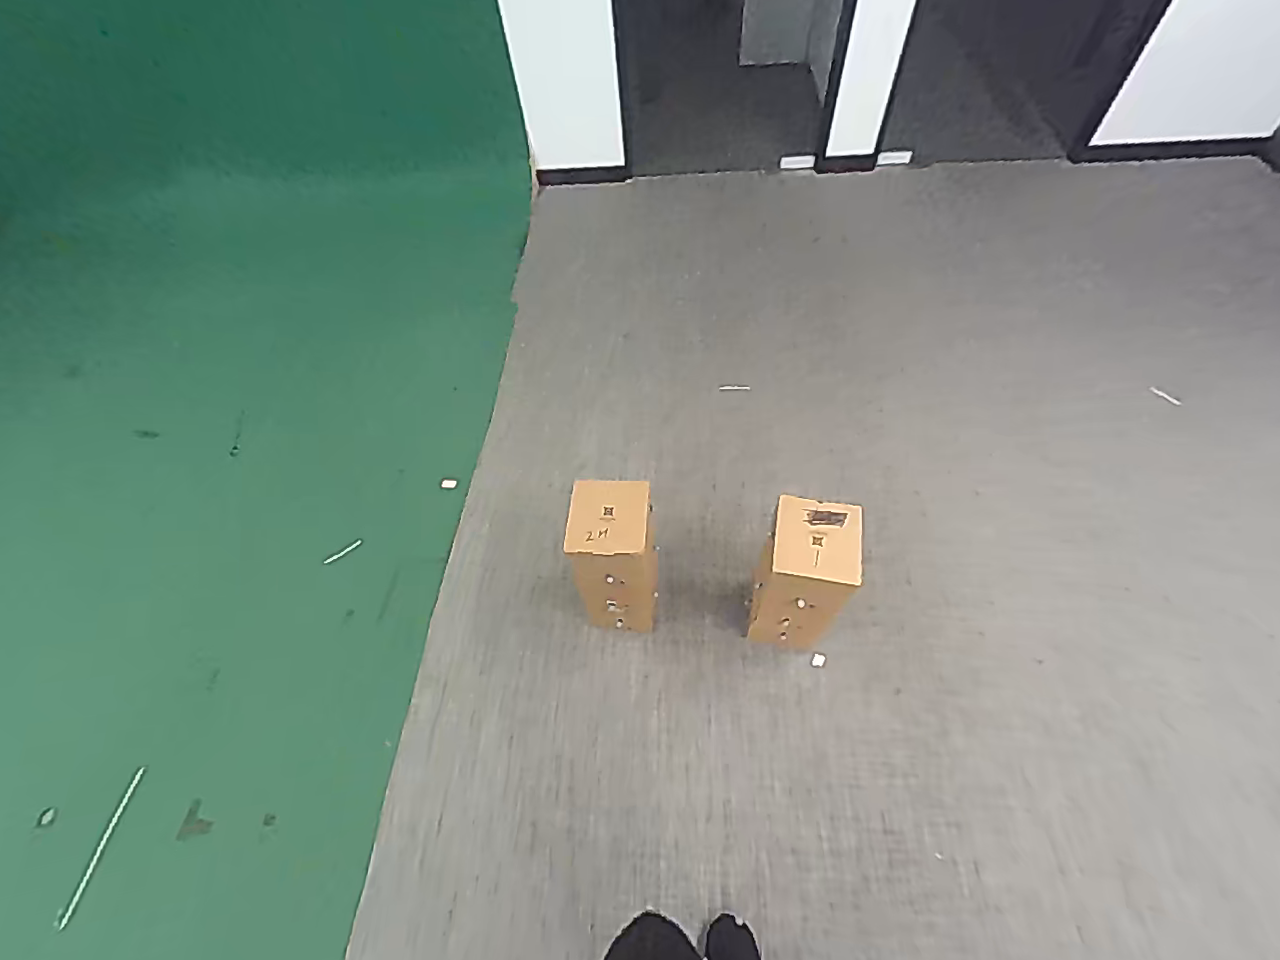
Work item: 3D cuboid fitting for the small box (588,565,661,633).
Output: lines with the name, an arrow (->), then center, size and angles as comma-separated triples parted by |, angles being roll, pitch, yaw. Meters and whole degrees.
small box -> -0.035, 0.302, 1.463 | 0.168, 0.176, 0.179 | 4, 58, 7

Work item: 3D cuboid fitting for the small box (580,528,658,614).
small box -> -0.044, 0.215, 1.326 | 0.168, 0.176, 0.179 | 1, 58, 7

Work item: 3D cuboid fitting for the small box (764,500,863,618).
small box -> 0.357, 0.168, 1.128 | 0.168, 0.176, 0.179 | 9, 60, 10

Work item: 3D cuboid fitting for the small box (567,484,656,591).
small box -> -0.054, 0.128, 1.186 | 0.168, 0.176, 0.179 | 1, 57, 7

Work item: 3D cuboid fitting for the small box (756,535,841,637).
small box -> 0.370, 0.249, 1.270 | 0.168, 0.176, 0.179 | 7, 59, 9
